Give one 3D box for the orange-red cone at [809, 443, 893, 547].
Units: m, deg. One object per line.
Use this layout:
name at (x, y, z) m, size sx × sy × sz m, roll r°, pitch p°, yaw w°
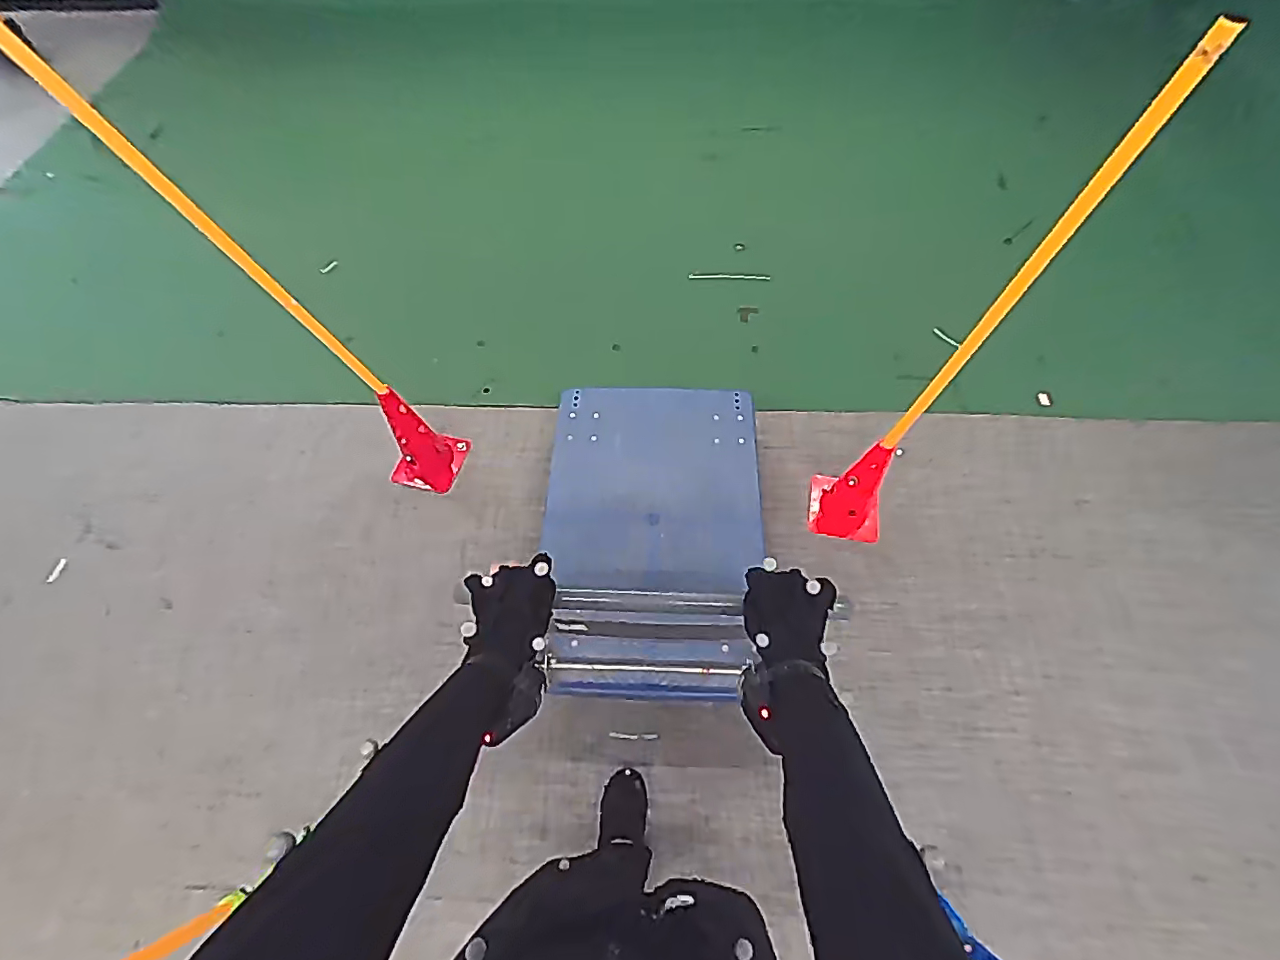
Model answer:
orange-red cone at (0.605, 0.014, 1.467) m, size 0.198 × 0.360 × 0.199 m, roll 11°, pitch 62°, yaw 8°
